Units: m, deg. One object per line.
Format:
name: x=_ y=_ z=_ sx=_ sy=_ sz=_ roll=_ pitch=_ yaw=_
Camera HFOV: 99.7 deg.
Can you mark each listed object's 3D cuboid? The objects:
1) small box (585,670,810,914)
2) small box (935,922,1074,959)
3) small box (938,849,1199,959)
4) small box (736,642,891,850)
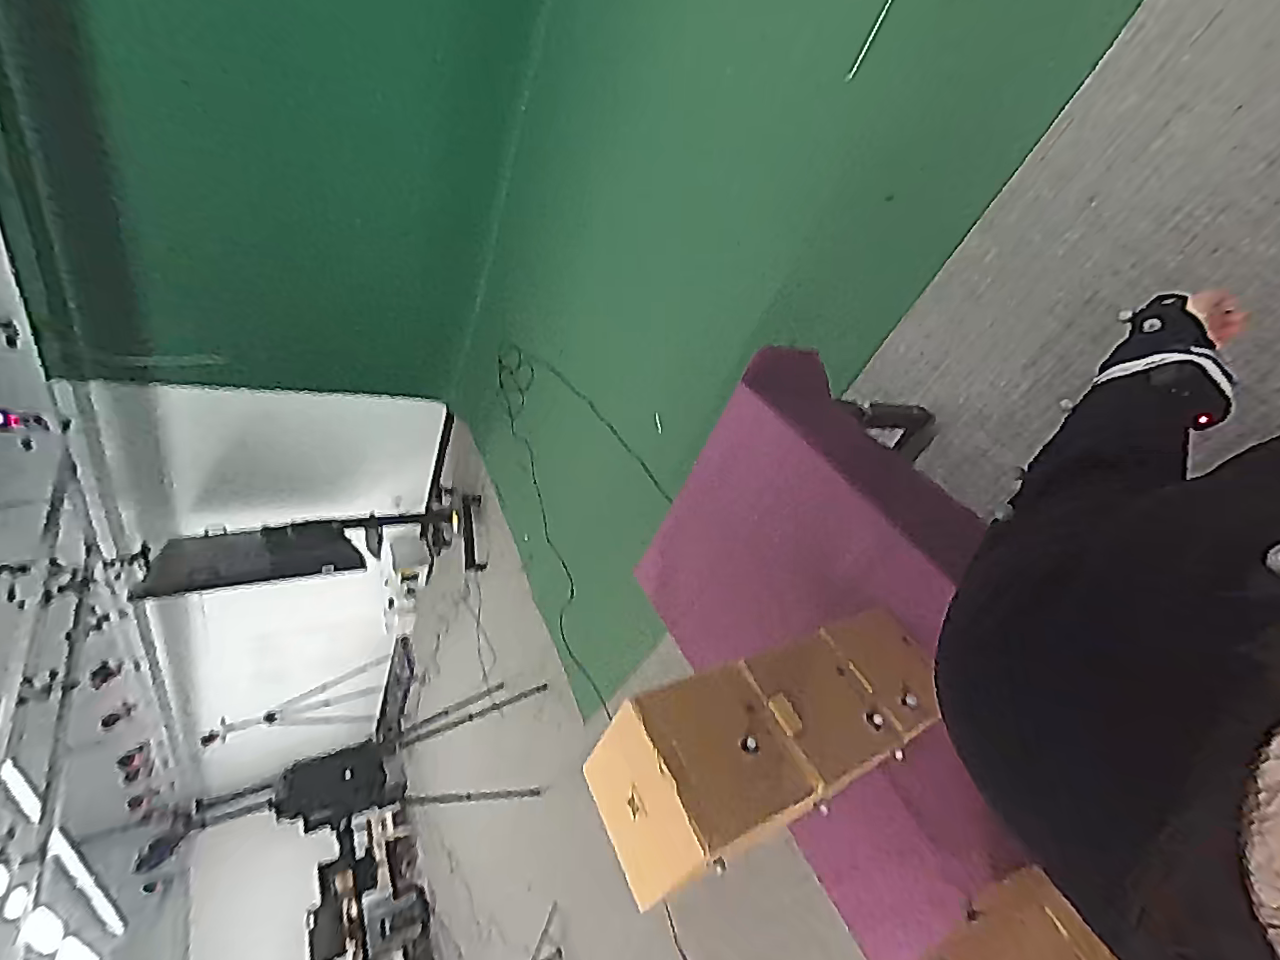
small box: x=0.063 y=0.354 z=0.635 sx=0.168 sy=0.176 sz=0.179 roll=54 pitch=132 yaw=38
small box: x=0.358 y=0.570 z=0.514 sx=0.168 sy=0.176 sz=0.179 roll=57 pitch=134 yaw=36
small box: x=0.493 y=0.562 z=0.609 sx=0.168 sy=0.176 sz=0.179 roll=56 pitch=134 yaw=36
small box: x=0.199 y=0.343 z=0.723 sx=0.168 sy=0.176 sz=0.179 roll=55 pitch=134 yaw=37
